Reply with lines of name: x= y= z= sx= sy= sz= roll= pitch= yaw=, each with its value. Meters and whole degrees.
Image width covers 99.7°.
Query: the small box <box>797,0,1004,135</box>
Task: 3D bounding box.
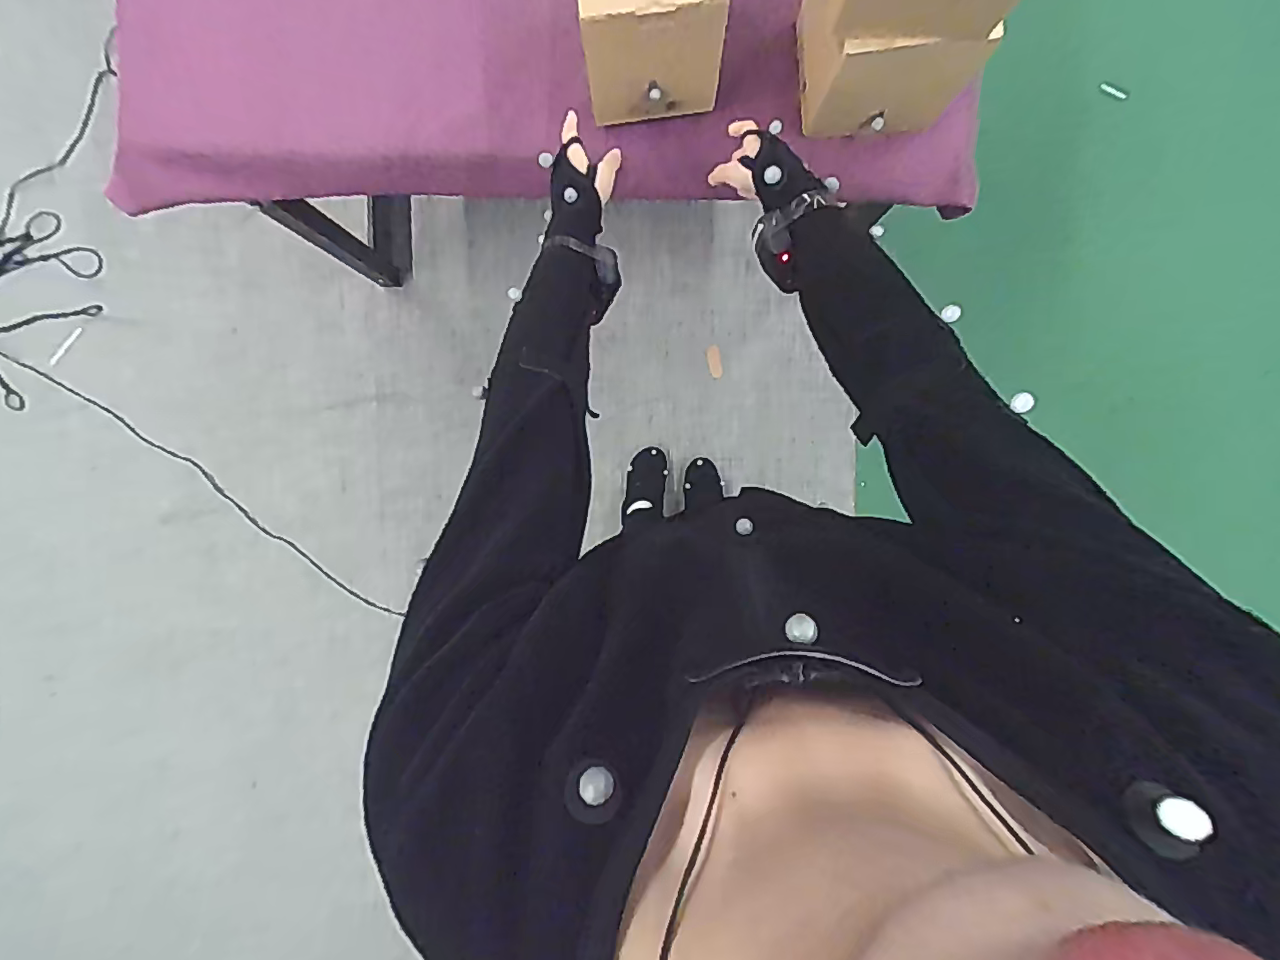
small box: x=0.307 y=-0.560 z=0.665 sx=0.179 sy=0.176 sz=0.168 roll=-5 pitch=92 yaw=2

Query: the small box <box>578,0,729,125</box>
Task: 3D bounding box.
small box: x=0.009 y=-0.586 z=0.669 sx=0.168 sy=0.176 sz=0.179 roll=-7 pitch=89 yaw=2

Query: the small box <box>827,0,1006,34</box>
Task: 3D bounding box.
small box: x=0.291 y=-0.559 z=0.502 sx=0.179 sy=0.176 sz=0.168 roll=2 pitch=93 yaw=3
